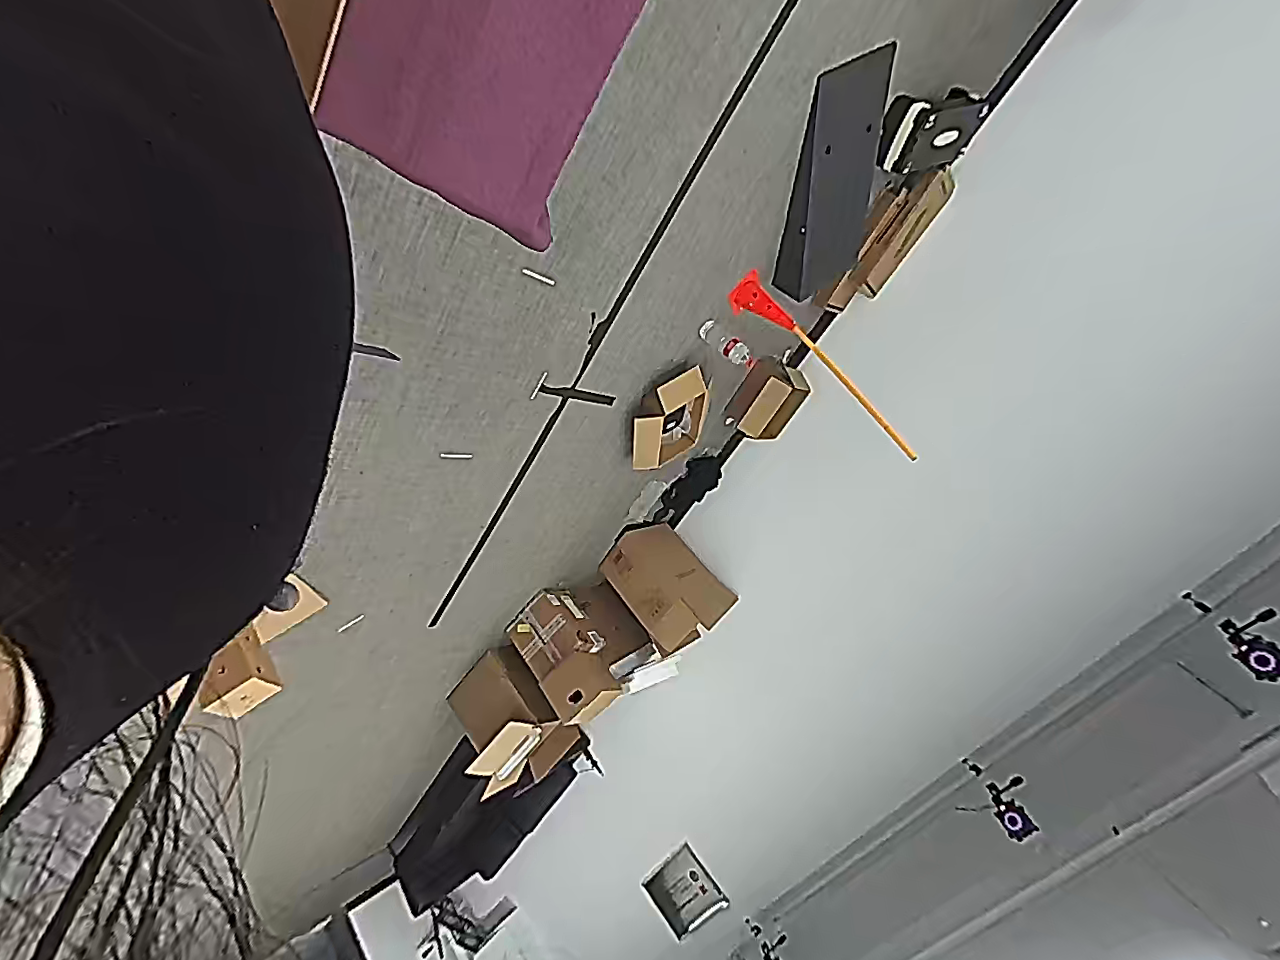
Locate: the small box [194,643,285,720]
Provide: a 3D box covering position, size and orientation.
[{"bbox_3d":[-1.371,0.686,1.850,0.168,0.176,0.179,-34,153,-19],"label":"small box"}]

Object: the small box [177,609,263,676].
[{"bbox_3d":[-1.484,0.587,1.919,0.168,0.176,0.179,-35,153,-18],"label":"small box"}]
